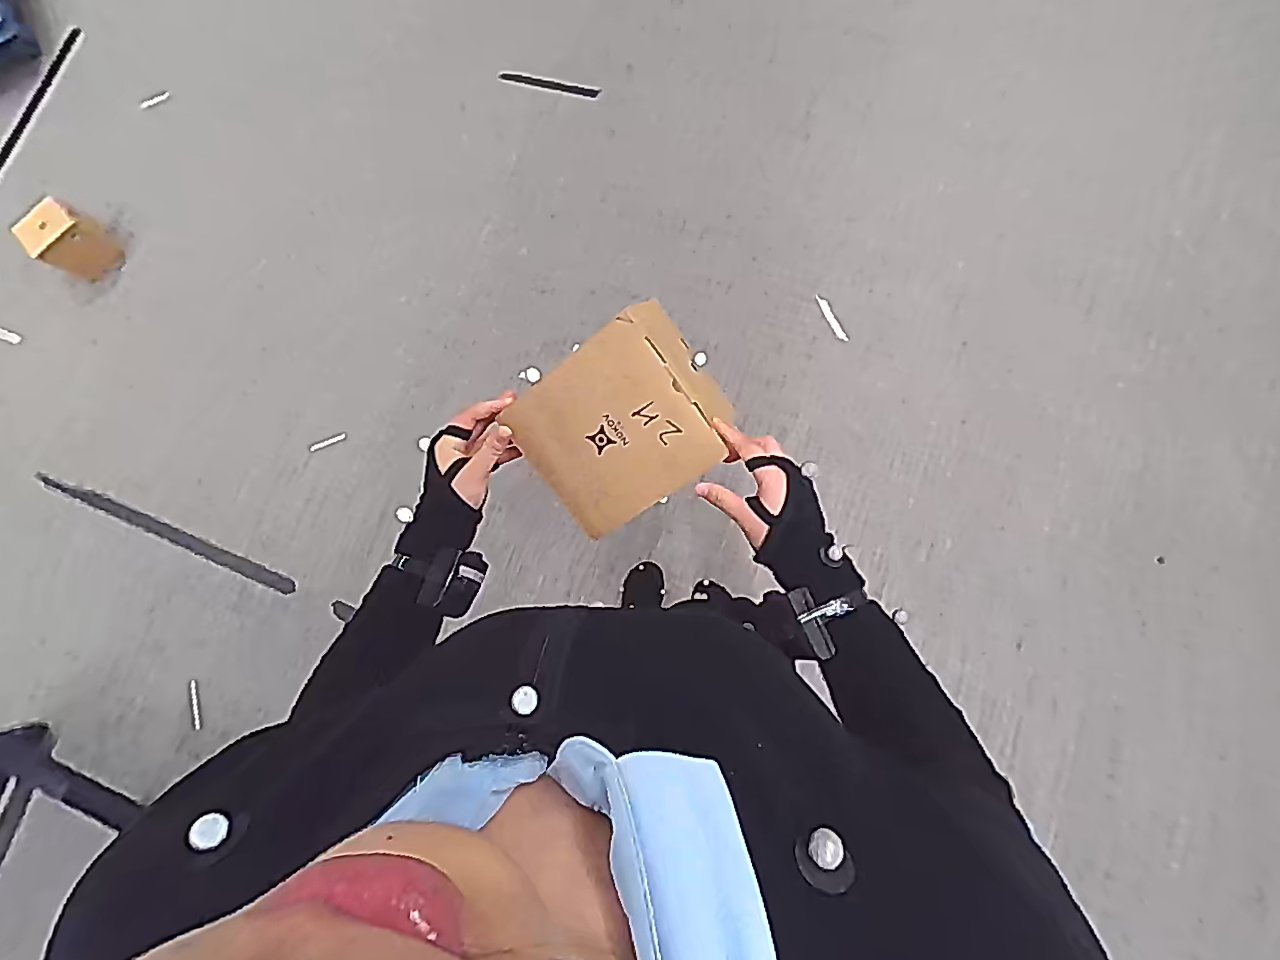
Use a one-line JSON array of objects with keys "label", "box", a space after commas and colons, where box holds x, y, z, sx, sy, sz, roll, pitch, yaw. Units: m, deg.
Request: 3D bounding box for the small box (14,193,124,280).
[{"label": "small box", "box": [-1.949, -0.827, 1.853, 0.179, 0.176, 0.168, -45, 78, -3]}]

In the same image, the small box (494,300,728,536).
[{"label": "small box", "box": [-0.017, -0.074, 0.591, 0.179, 0.176, 0.168, -34, 102, 21]}]
